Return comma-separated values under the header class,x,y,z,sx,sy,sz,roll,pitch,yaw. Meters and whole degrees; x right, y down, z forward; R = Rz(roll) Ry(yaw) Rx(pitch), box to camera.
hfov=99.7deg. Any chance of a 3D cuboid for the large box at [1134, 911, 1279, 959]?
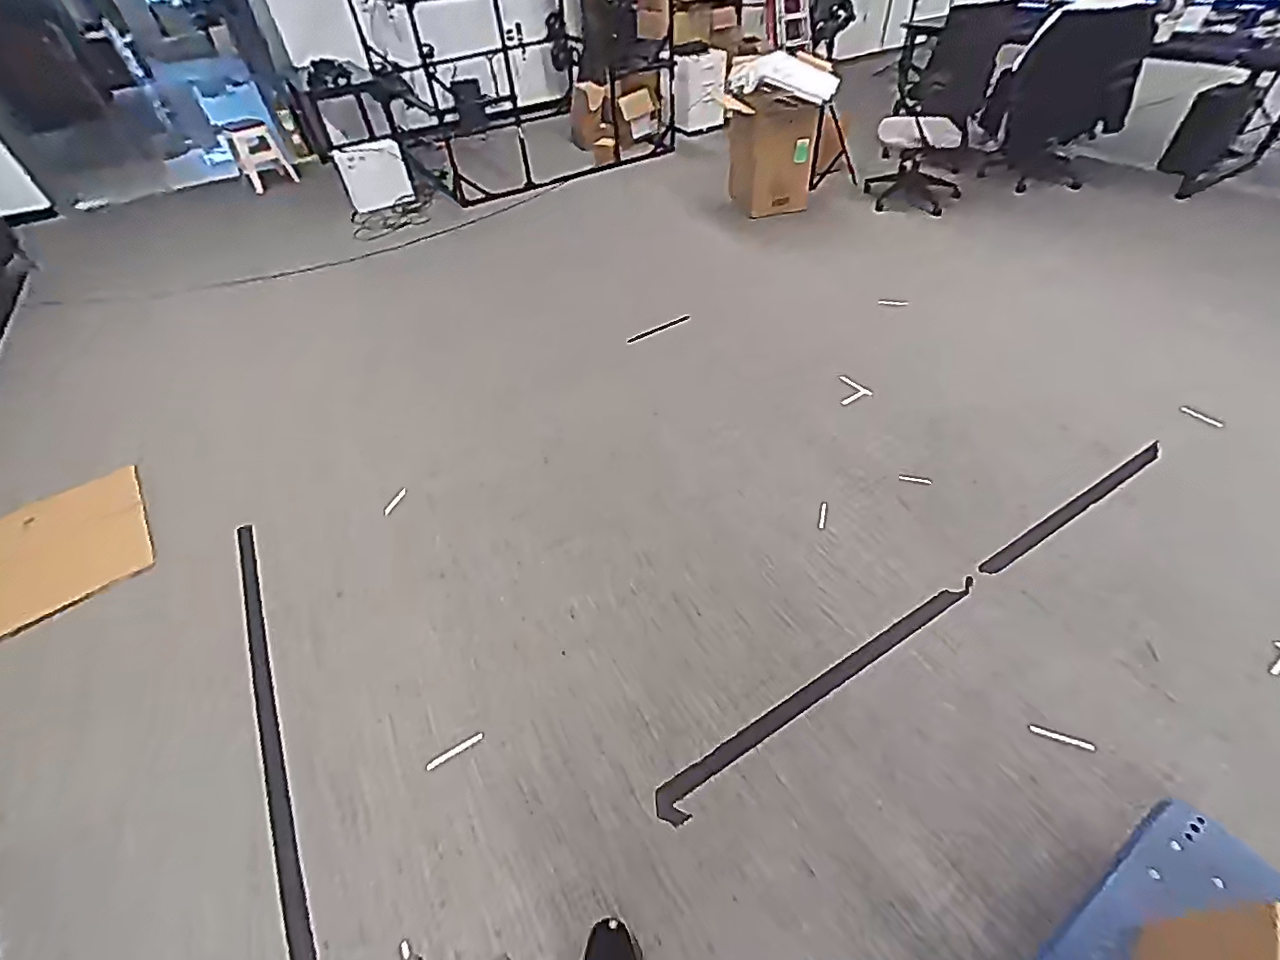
class,x,y,z,sx,sy,sz,roll,pitch,yaw
large box,0.945,0.865,0.689,0.408,0.320,0.320,28,55,27
